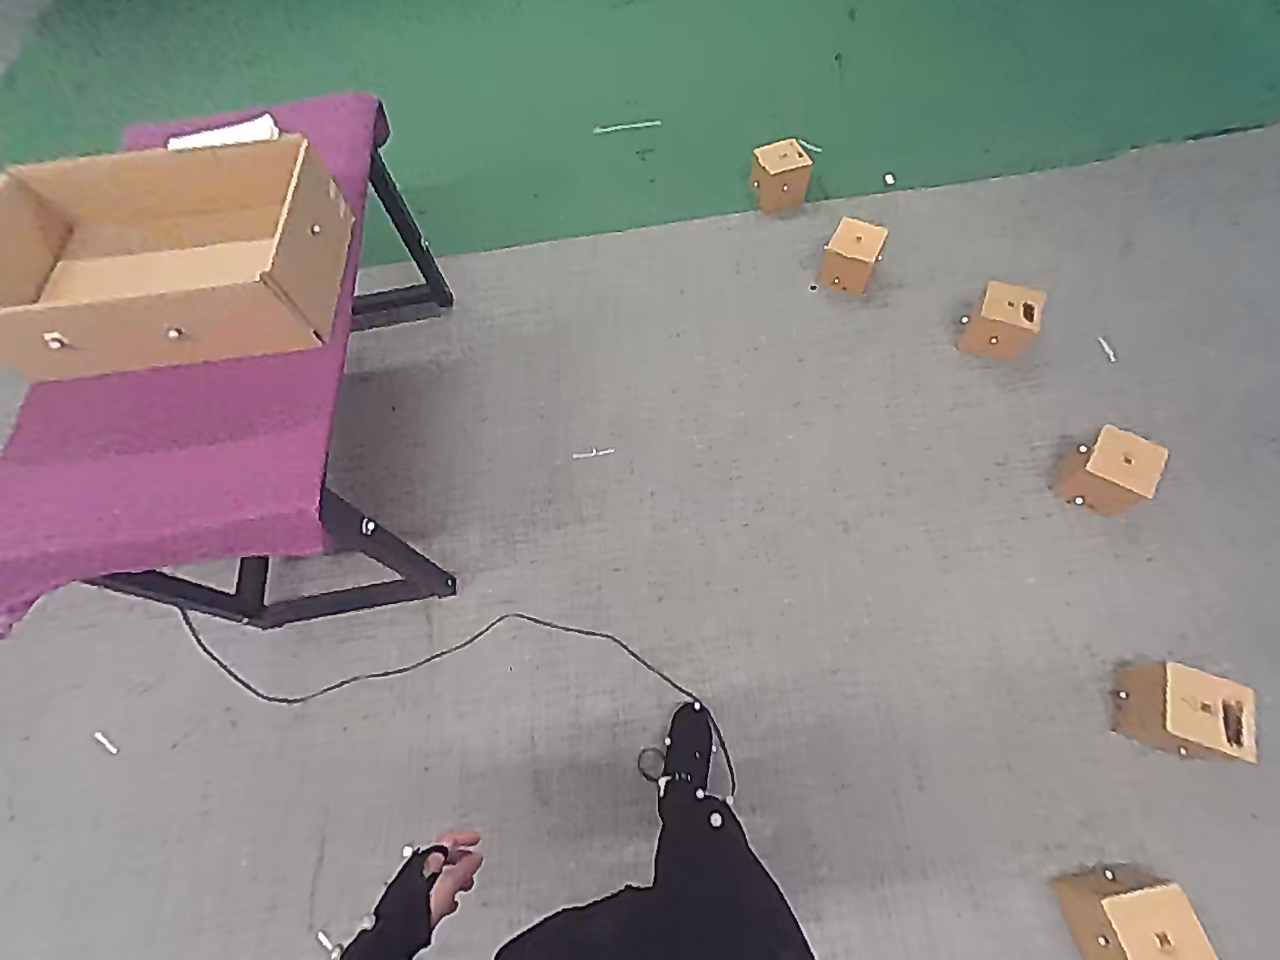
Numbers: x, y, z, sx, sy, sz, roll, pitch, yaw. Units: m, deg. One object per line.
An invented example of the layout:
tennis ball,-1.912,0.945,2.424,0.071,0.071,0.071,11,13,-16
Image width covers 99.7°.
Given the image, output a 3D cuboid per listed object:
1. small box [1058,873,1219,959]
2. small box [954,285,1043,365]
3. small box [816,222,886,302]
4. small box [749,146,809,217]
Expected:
small box,1.019,0.934,1.108,0.168,0.176,0.179,-12,64,-1
small box,1.177,-0.504,1.781,0.179,0.176,0.168,21,68,14
small box,0.753,-0.781,1.945,0.168,0.176,0.179,24,70,15
small box,0.543,-1.181,2.149,0.179,0.176,0.168,-18,65,-4
